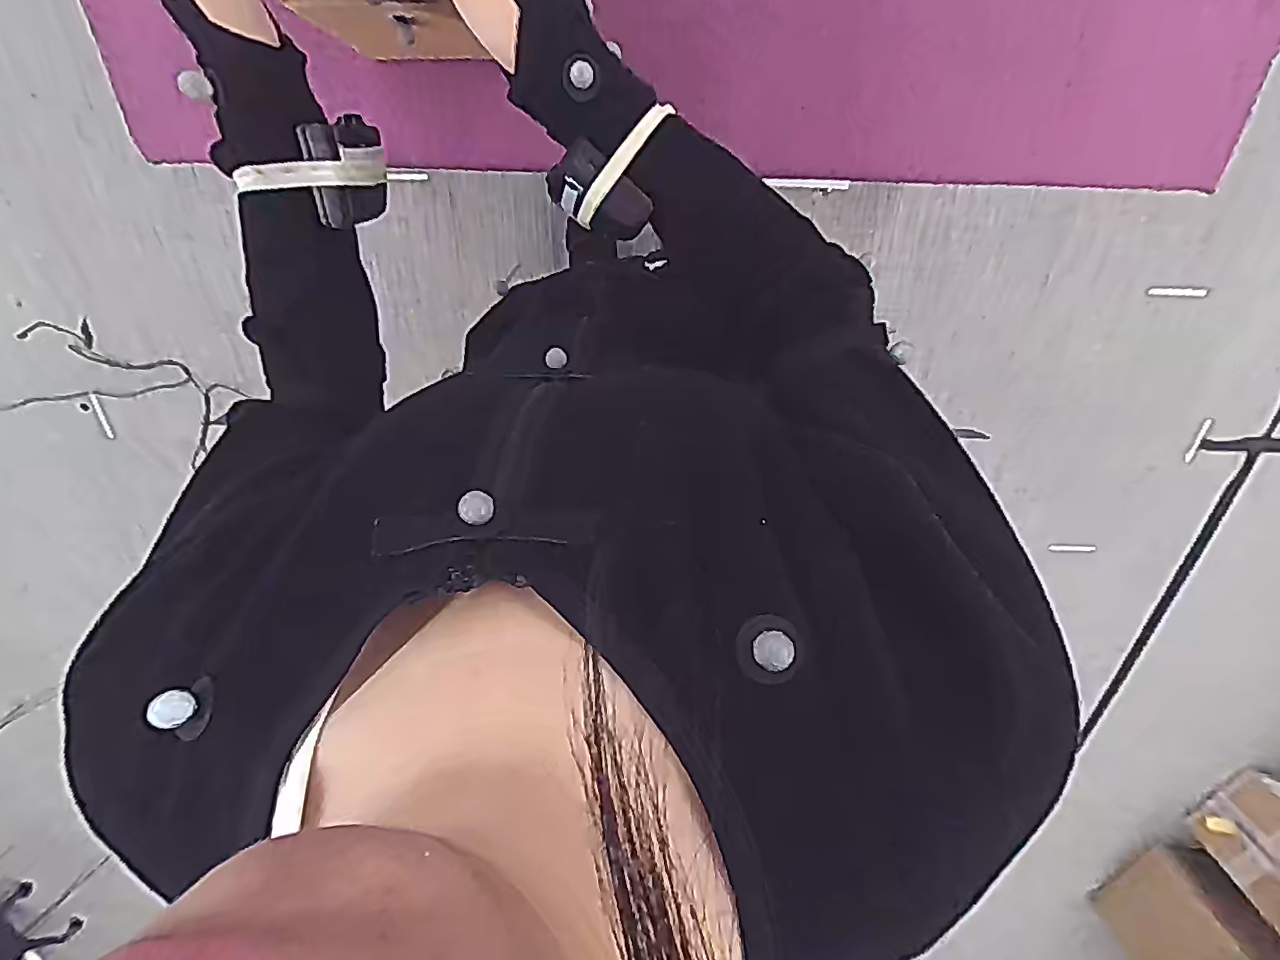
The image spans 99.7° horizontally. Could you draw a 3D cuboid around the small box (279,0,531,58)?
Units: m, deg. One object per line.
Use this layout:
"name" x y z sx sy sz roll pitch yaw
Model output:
"small box" -0.190 -0.471 0.447 0.179 0.176 0.168 -1 117 -1
